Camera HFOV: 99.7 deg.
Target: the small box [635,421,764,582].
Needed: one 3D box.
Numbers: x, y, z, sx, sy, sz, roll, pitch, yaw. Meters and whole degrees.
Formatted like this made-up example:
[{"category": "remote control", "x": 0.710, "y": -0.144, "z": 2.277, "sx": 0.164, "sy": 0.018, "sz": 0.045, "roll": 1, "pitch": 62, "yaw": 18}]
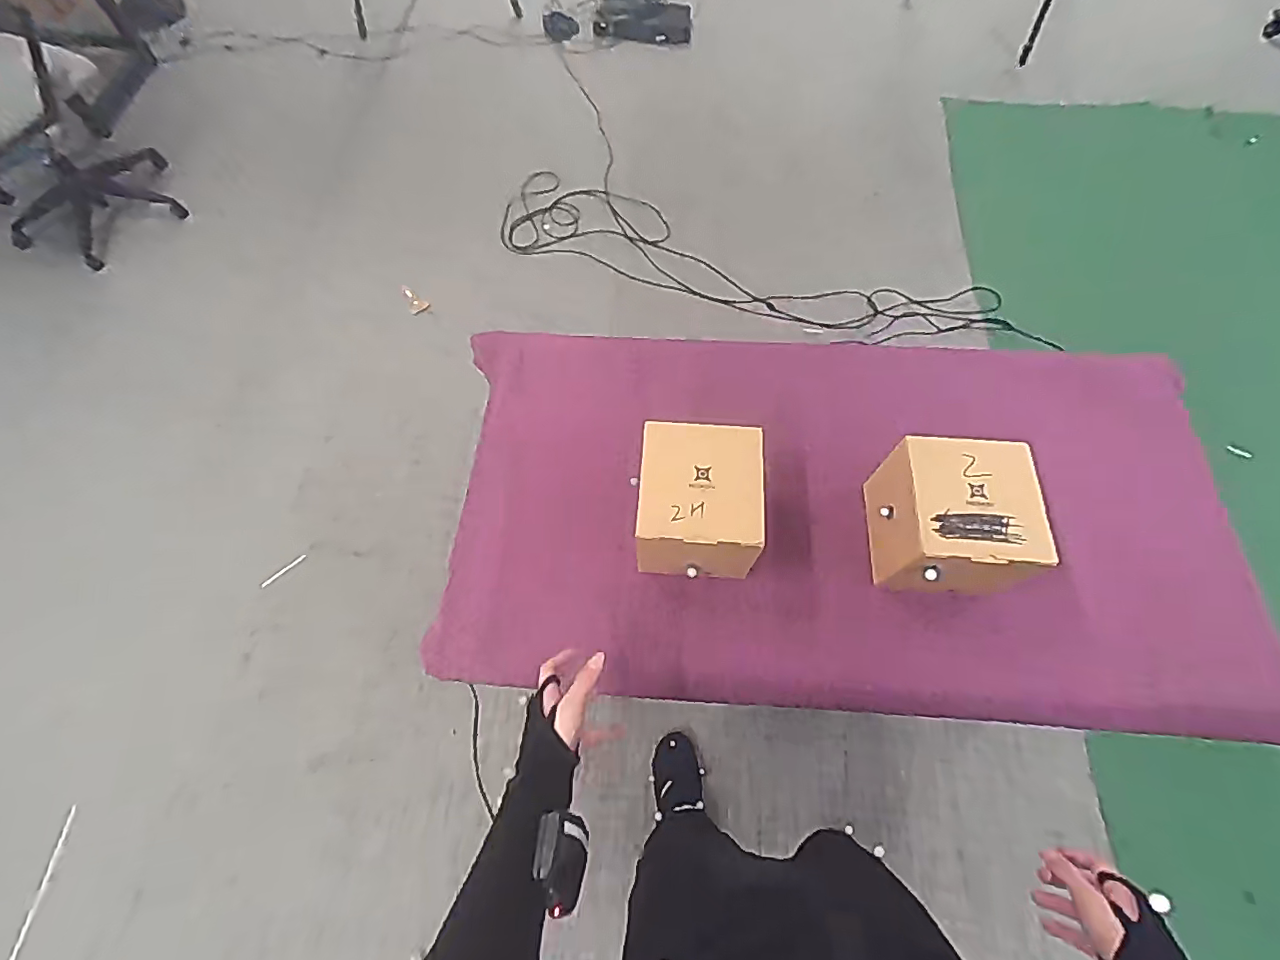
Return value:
[{"category": "small box", "x": 0.081, "y": 0.036, "z": 0.784, "sx": 0.168, "sy": 0.176, "sz": 0.179, "roll": 4, "pitch": 66, "yaw": 3}]
